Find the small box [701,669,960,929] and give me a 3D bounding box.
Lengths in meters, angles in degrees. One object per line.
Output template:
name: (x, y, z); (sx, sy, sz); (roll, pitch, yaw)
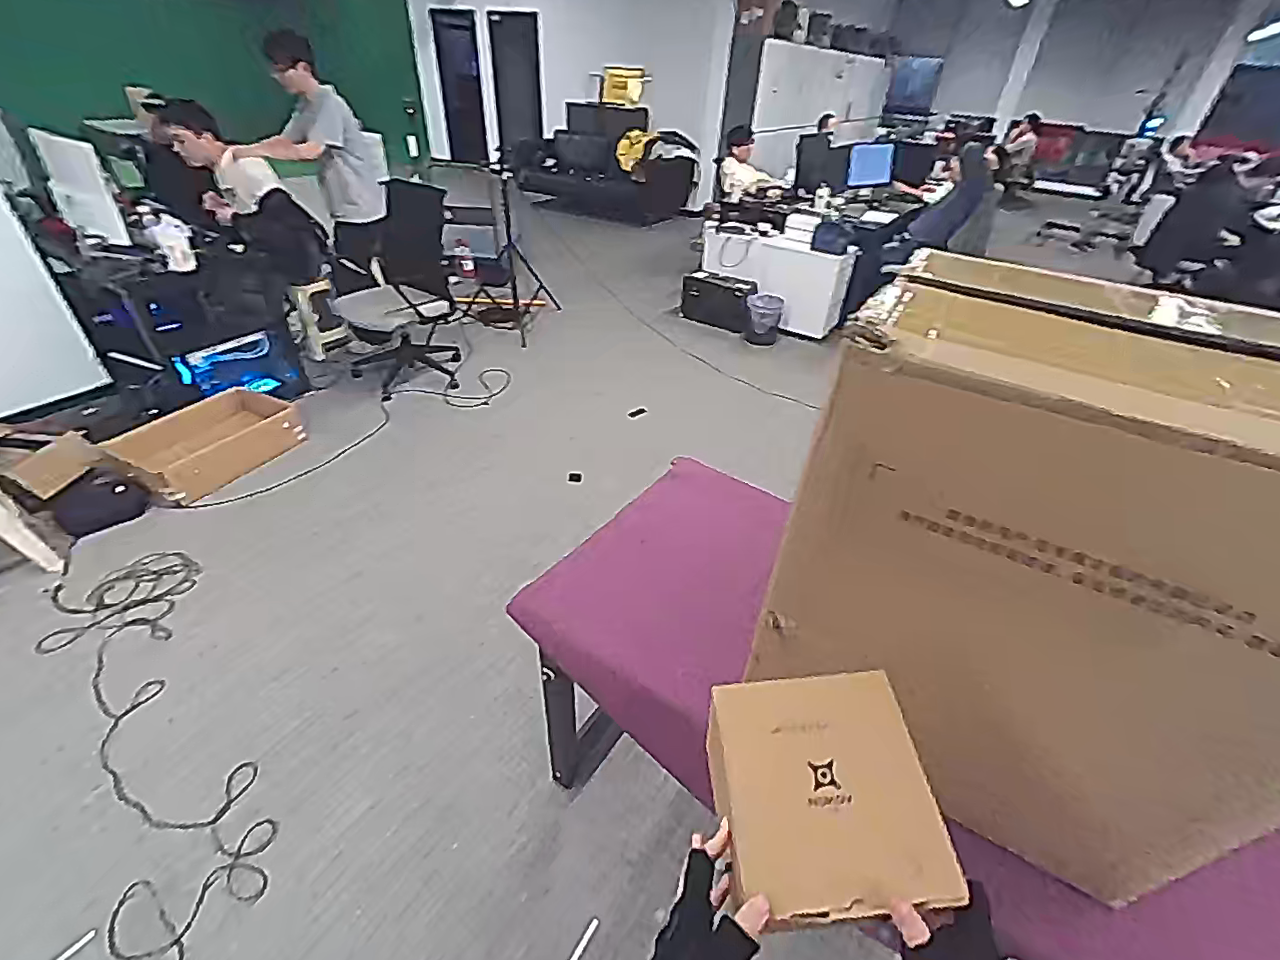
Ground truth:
small box: (0.152, 0.301, 0.507); (0.168, 0.176, 0.179); (-5, 46, -2)
